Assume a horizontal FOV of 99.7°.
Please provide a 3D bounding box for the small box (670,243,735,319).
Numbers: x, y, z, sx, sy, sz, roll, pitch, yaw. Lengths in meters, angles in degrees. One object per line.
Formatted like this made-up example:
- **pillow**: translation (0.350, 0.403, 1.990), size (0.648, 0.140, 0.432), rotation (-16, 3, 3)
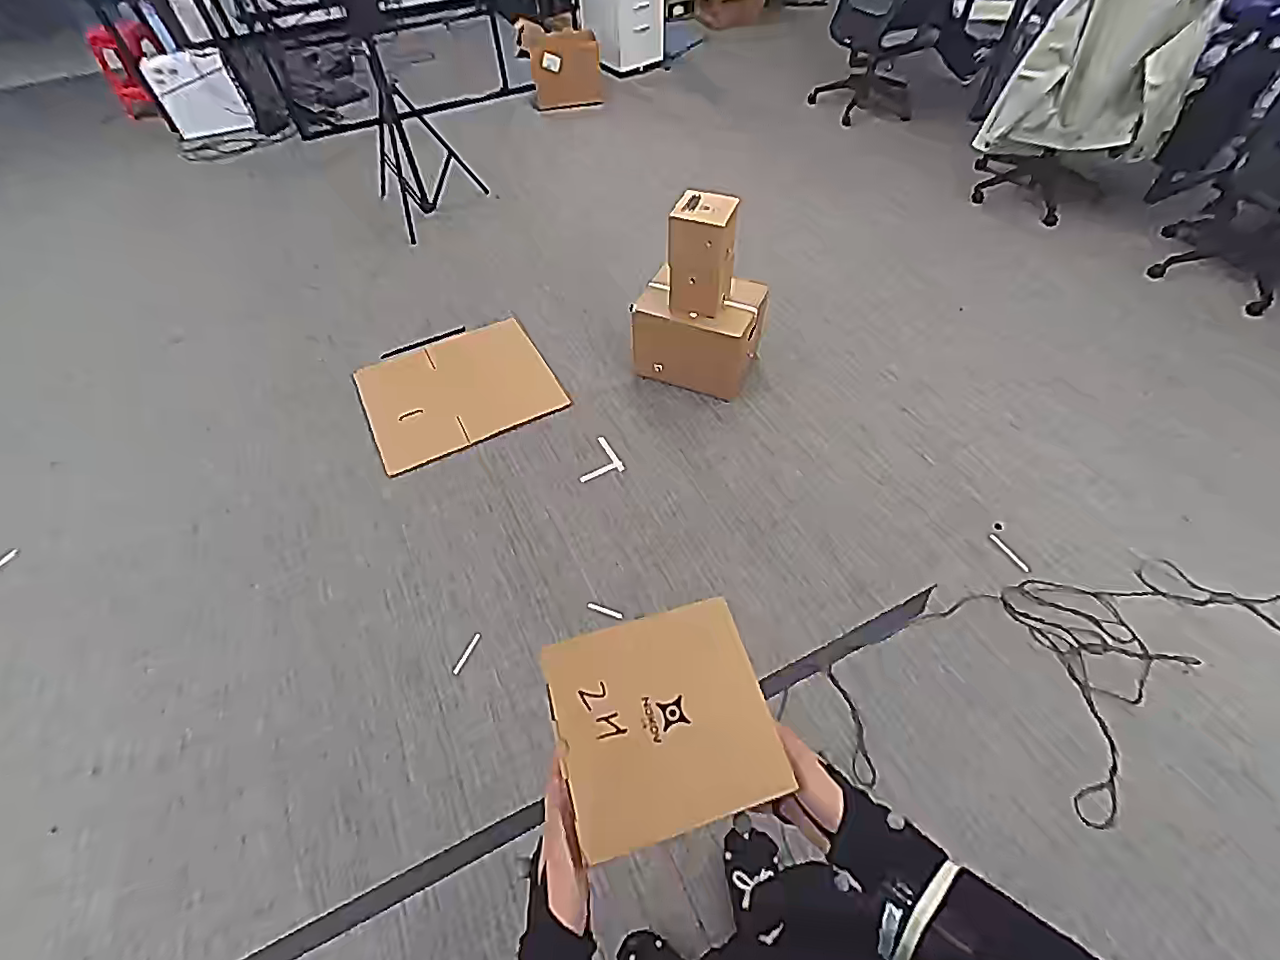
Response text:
- **small box**: translation (0.209, -0.675, 1.839), size (0.179, 0.176, 0.168), rotation (18, 58, 14)

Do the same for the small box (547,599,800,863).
- **small box**: translation (0.018, 0.234, 0.513), size (0.179, 0.176, 0.168), rotation (-13, 59, -11)
